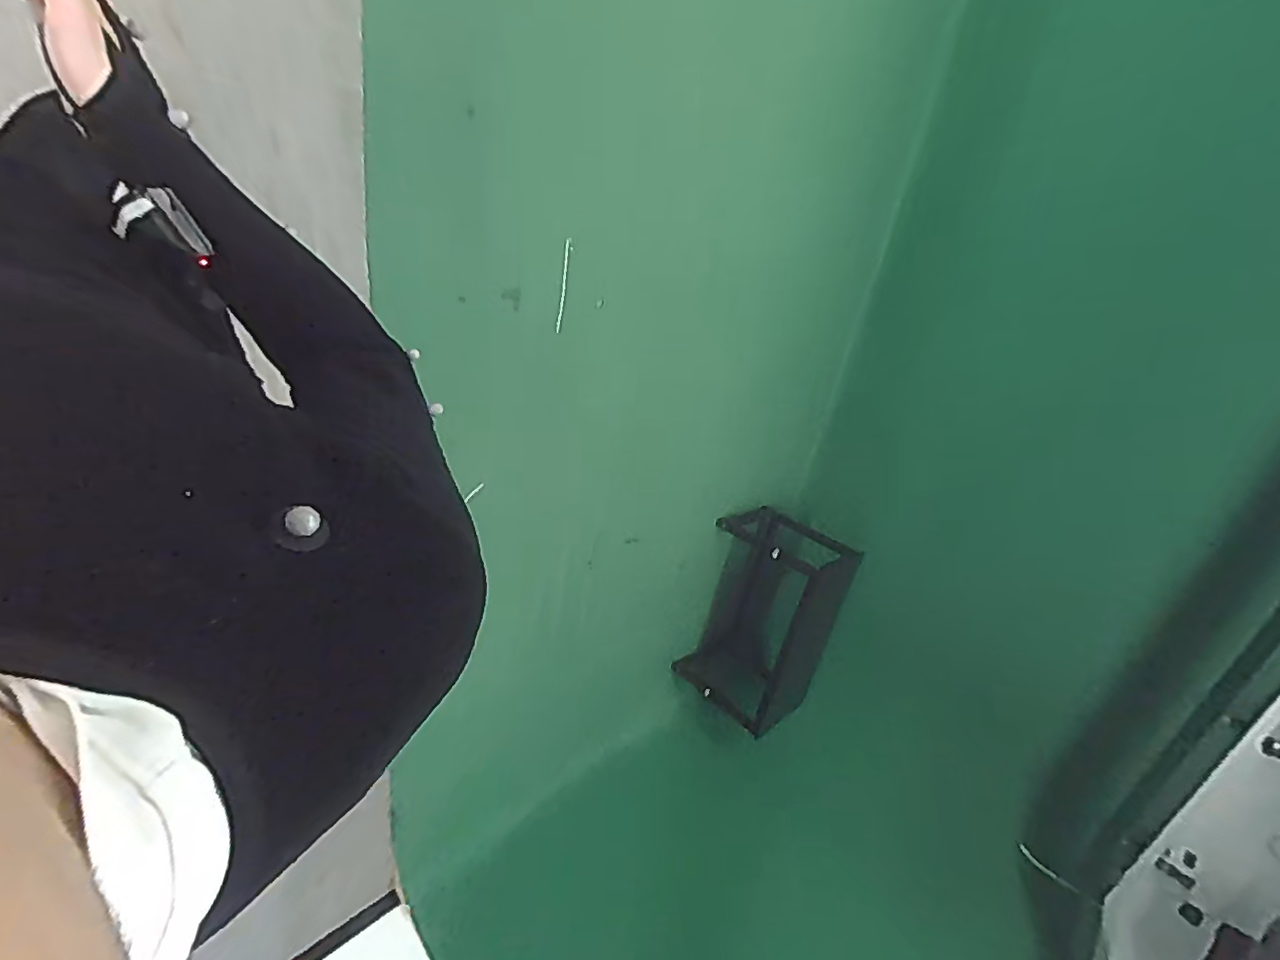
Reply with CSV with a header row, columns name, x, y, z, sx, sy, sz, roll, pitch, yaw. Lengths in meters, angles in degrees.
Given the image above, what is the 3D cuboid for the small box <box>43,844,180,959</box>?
name,x,y,z,sx,sy,sz,roll,pitch,yaw
small box,-0.984,0.842,1.012,0.168,0.176,0.179,-9,121,-48
